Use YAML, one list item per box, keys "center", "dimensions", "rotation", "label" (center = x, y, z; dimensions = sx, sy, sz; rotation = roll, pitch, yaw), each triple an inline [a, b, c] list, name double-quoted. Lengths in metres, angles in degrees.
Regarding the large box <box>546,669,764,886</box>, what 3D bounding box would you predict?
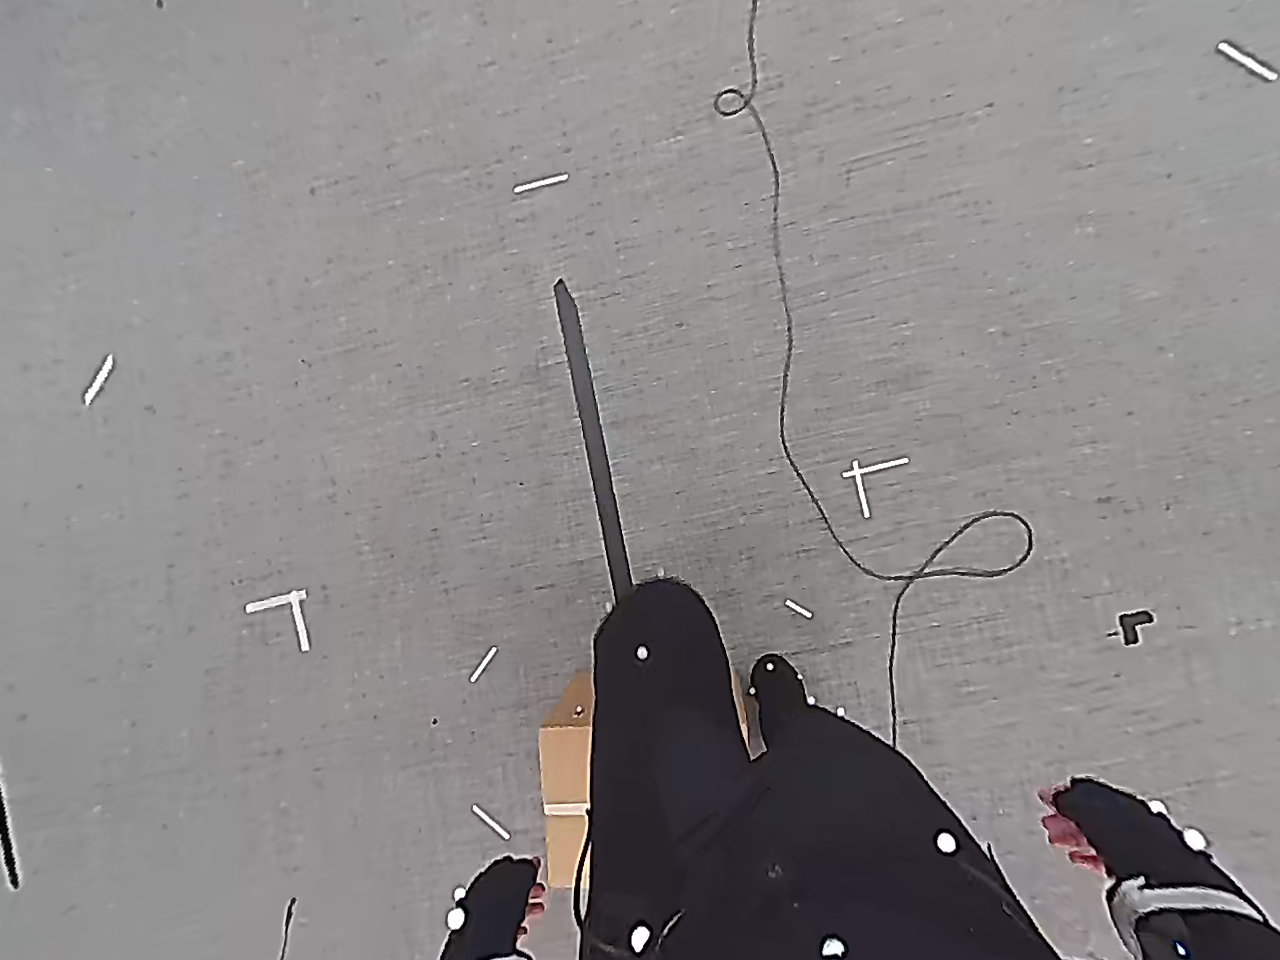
- center: [0.038, 0.619, 1.178]
  dimensions: [0.408, 0.320, 0.320]
  rotation: [-4, 90, 6]
  label: "large box"
